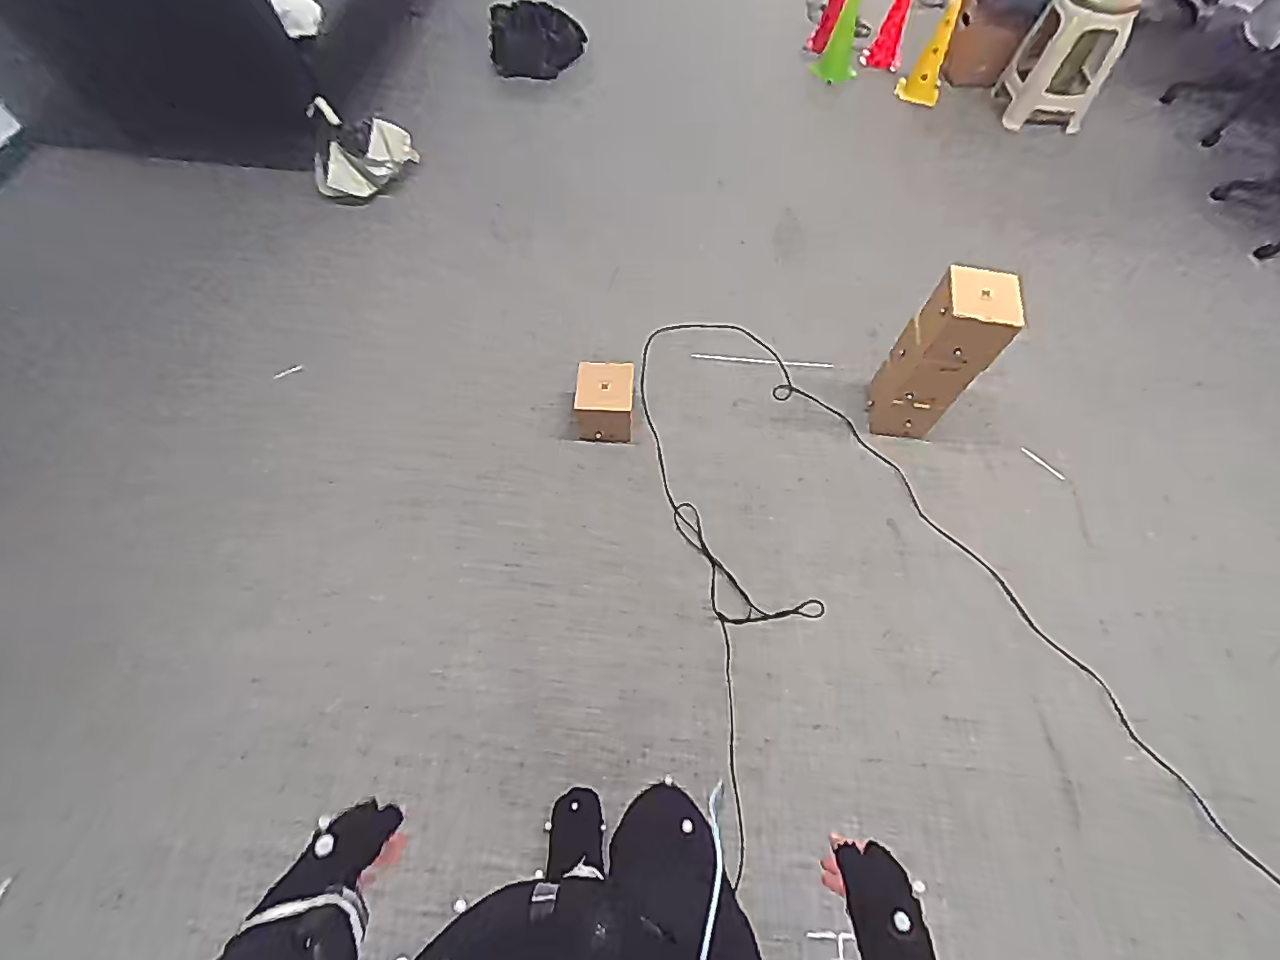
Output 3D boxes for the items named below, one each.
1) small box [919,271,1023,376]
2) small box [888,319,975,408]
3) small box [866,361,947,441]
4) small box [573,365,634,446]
[{"bbox_3d":[0.829,-0.394,1.374,0.168,0.176,0.179,12,63,5],"label":"small box"},{"bbox_3d":[0.817,-0.321,1.519,0.168,0.176,0.179,7,61,3],"label":"small box"},{"bbox_3d":[0.811,-0.238,1.661,0.168,0.176,0.179,7,63,2],"label":"small box"},{"bbox_3d":[-0.105,-0.224,1.639,0.168,0.176,0.179,3,63,1],"label":"small box"}]
